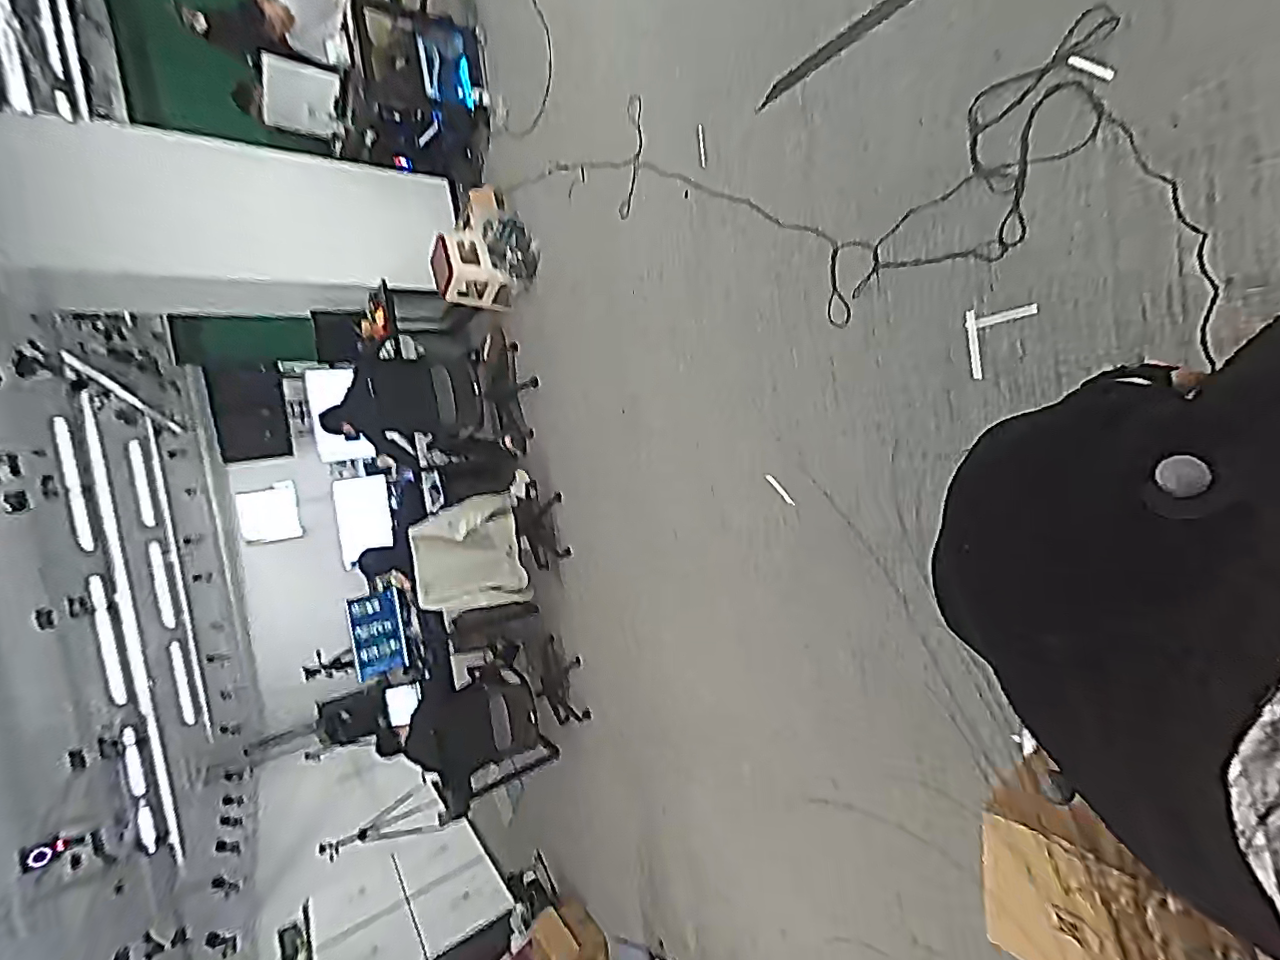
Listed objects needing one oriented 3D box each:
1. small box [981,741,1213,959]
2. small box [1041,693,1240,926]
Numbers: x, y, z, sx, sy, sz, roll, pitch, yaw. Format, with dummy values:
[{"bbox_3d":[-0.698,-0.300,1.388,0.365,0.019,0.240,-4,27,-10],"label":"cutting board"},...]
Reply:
[{"bbox_3d":[0.516,0.440,0.615,0.168,0.176,0.179,4,102,55],"label":"small box"},{"bbox_3d":[0.650,0.410,0.709,0.168,0.176,0.179,5,103,54],"label":"small box"}]
